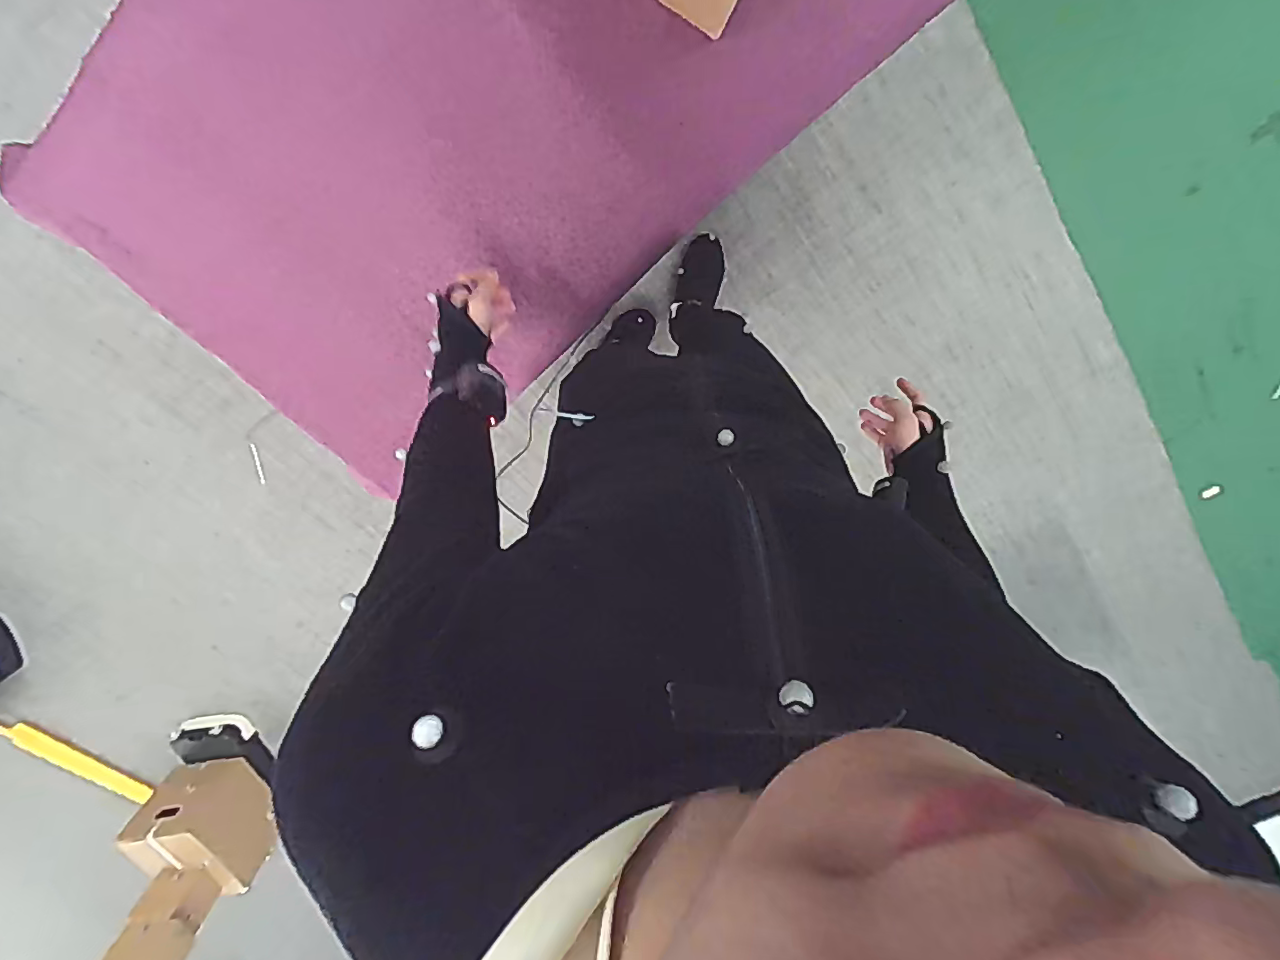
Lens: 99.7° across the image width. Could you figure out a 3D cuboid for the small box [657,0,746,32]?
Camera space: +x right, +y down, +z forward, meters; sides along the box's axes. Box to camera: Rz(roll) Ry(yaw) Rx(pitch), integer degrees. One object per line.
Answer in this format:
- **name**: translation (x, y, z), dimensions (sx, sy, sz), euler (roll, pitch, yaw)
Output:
- **small box**: translation (0.061, -0.579, 0.521), dimensions (0.179, 0.176, 0.168), euler (26, 114, -12)
